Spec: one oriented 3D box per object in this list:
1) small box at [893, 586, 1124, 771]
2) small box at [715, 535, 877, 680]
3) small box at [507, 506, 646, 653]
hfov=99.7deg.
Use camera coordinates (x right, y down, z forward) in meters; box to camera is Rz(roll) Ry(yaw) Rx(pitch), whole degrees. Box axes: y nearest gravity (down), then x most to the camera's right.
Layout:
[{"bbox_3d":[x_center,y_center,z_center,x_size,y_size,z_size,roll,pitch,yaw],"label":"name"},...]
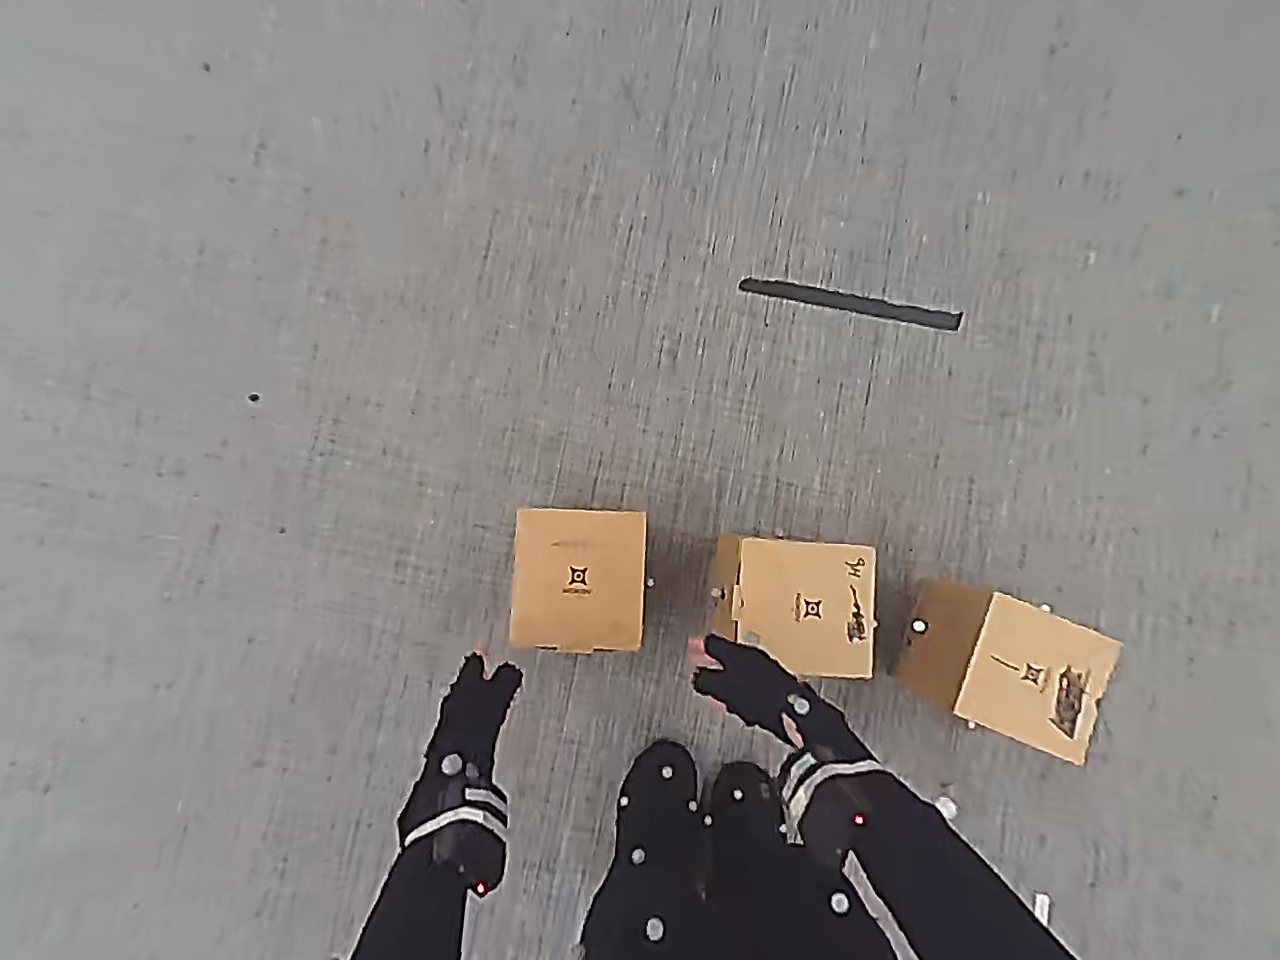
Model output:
[{"bbox_3d":[0.492,0.256,0.747,0.179,0.176,0.168,23,85,2],"label":"small box"},{"bbox_3d":[0.202,0.164,0.747,0.179,0.176,0.168,4,85,-1],"label":"small box"},{"bbox_3d":[-0.080,0.129,0.744,0.168,0.176,0.179,2,84,-2],"label":"small box"}]
